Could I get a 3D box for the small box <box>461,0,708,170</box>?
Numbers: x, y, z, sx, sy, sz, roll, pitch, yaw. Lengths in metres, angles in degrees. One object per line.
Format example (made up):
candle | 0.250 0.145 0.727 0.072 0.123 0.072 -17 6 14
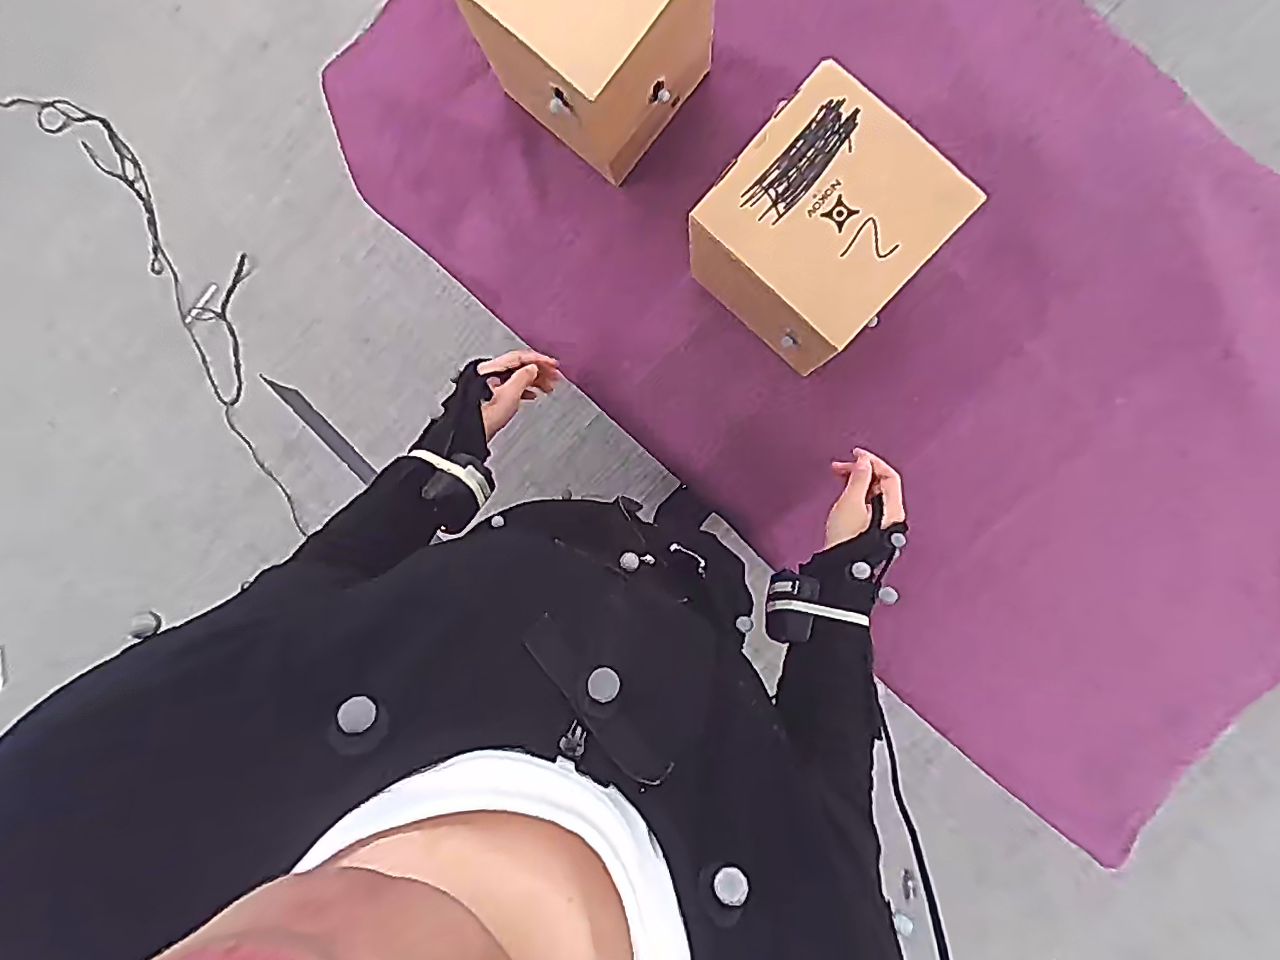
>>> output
small box | -0.043 -0.449 0.537 0.179 0.176 0.168 41 97 1
